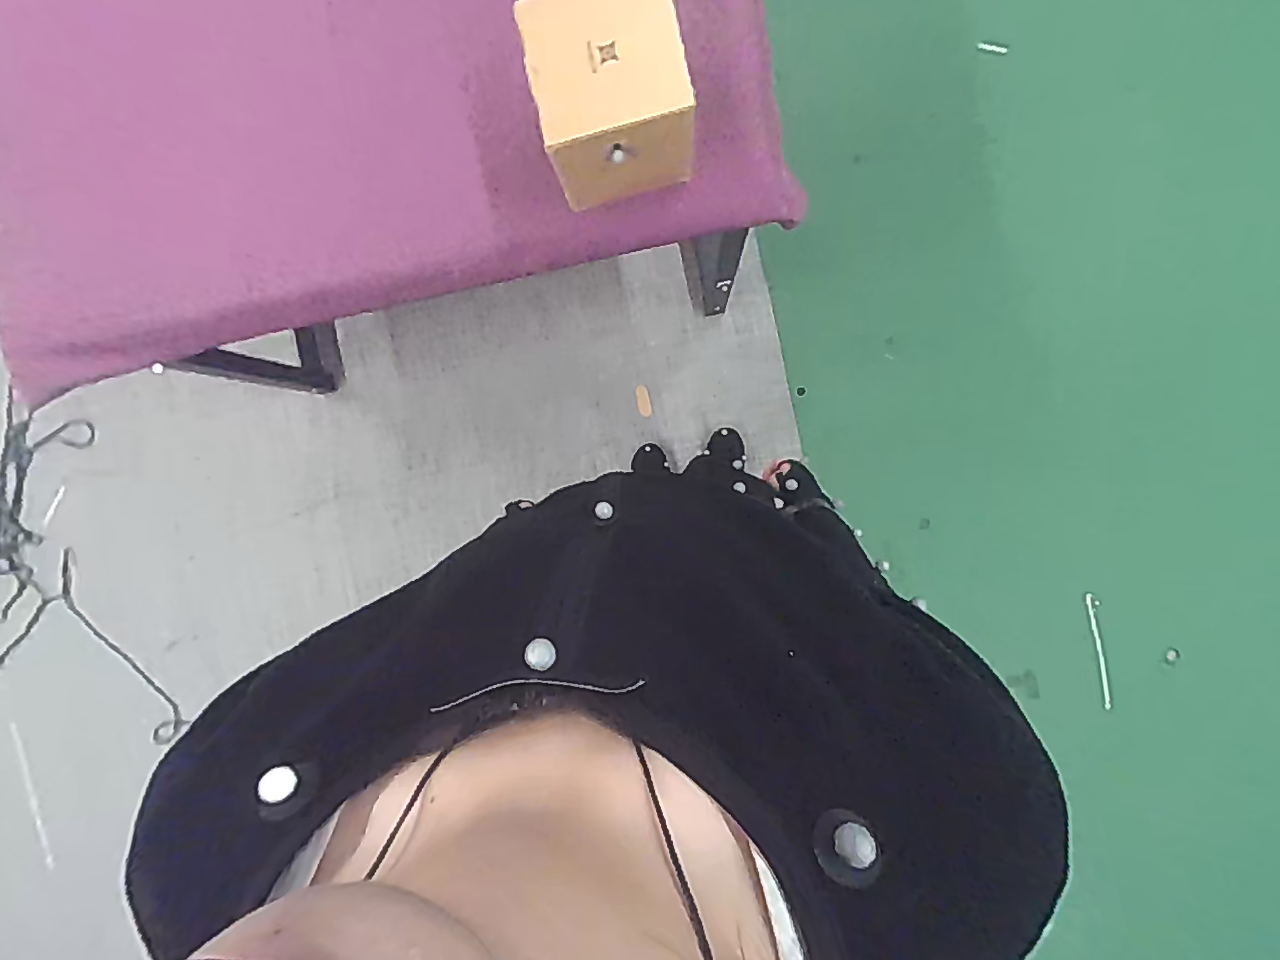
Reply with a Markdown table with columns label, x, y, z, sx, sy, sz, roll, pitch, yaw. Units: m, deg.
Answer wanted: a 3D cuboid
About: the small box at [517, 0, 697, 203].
| label | x | y | z | sx | sy | sz | roll | pitch | yaw |
| --- | --- | --- | --- | --- | --- | --- | --- | --- | --- |
| small box | -0.031 | -0.483 | 0.683 | 0.179 | 0.176 | 0.168 | -13 | 93 | 7 |
